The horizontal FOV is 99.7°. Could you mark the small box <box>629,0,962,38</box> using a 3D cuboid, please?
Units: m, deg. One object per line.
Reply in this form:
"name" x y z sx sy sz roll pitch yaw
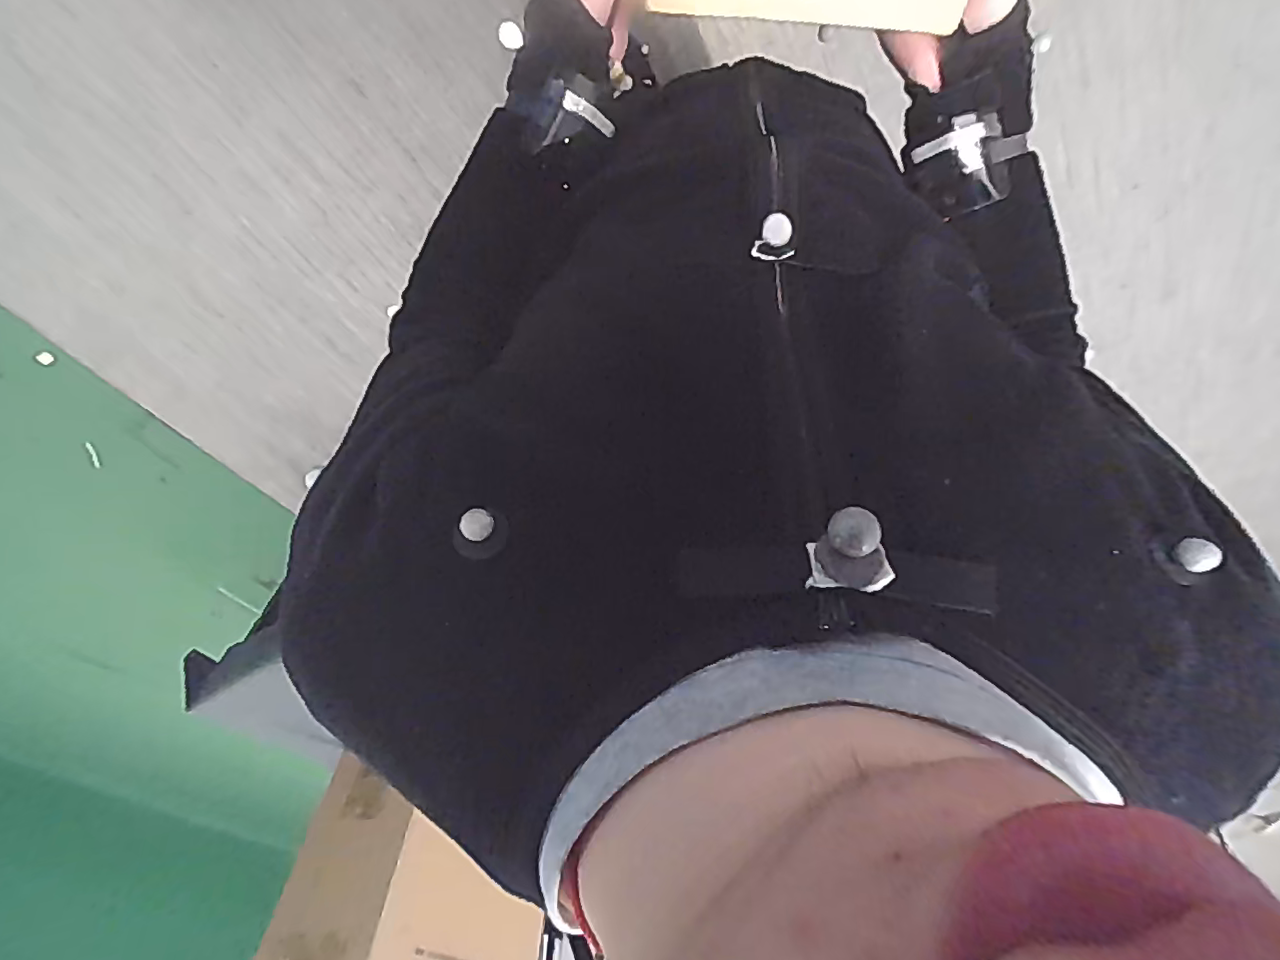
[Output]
"small box" 0.081 -0.355 0.284 0.179 0.176 0.168 -2 136 -6
